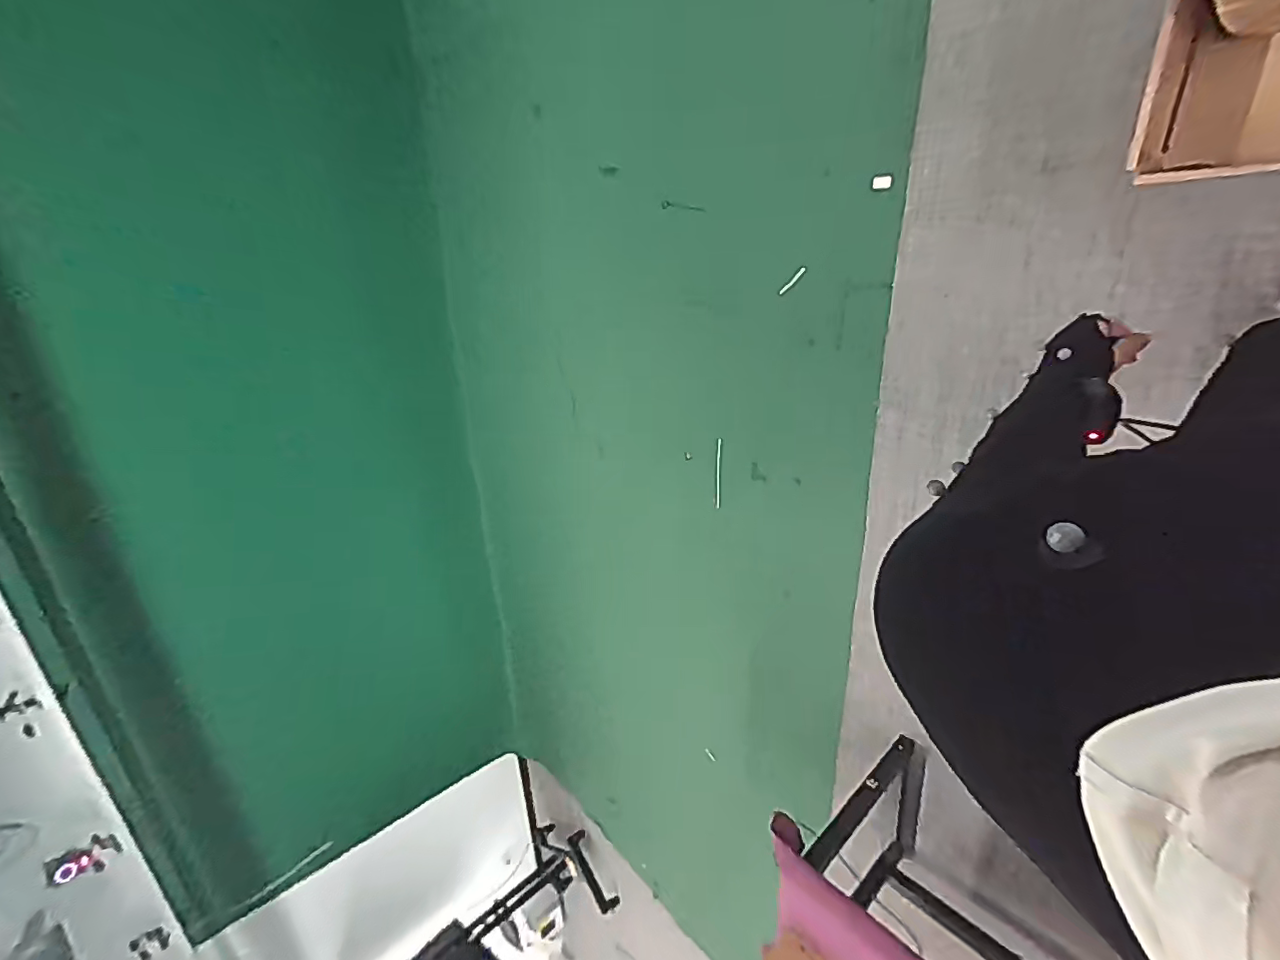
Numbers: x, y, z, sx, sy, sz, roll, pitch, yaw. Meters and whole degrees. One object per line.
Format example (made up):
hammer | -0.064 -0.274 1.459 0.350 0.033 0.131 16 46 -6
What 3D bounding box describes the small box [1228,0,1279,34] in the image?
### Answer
small box | 0.811 -0.654 0.614 0.168 0.176 0.179 23 122 44
